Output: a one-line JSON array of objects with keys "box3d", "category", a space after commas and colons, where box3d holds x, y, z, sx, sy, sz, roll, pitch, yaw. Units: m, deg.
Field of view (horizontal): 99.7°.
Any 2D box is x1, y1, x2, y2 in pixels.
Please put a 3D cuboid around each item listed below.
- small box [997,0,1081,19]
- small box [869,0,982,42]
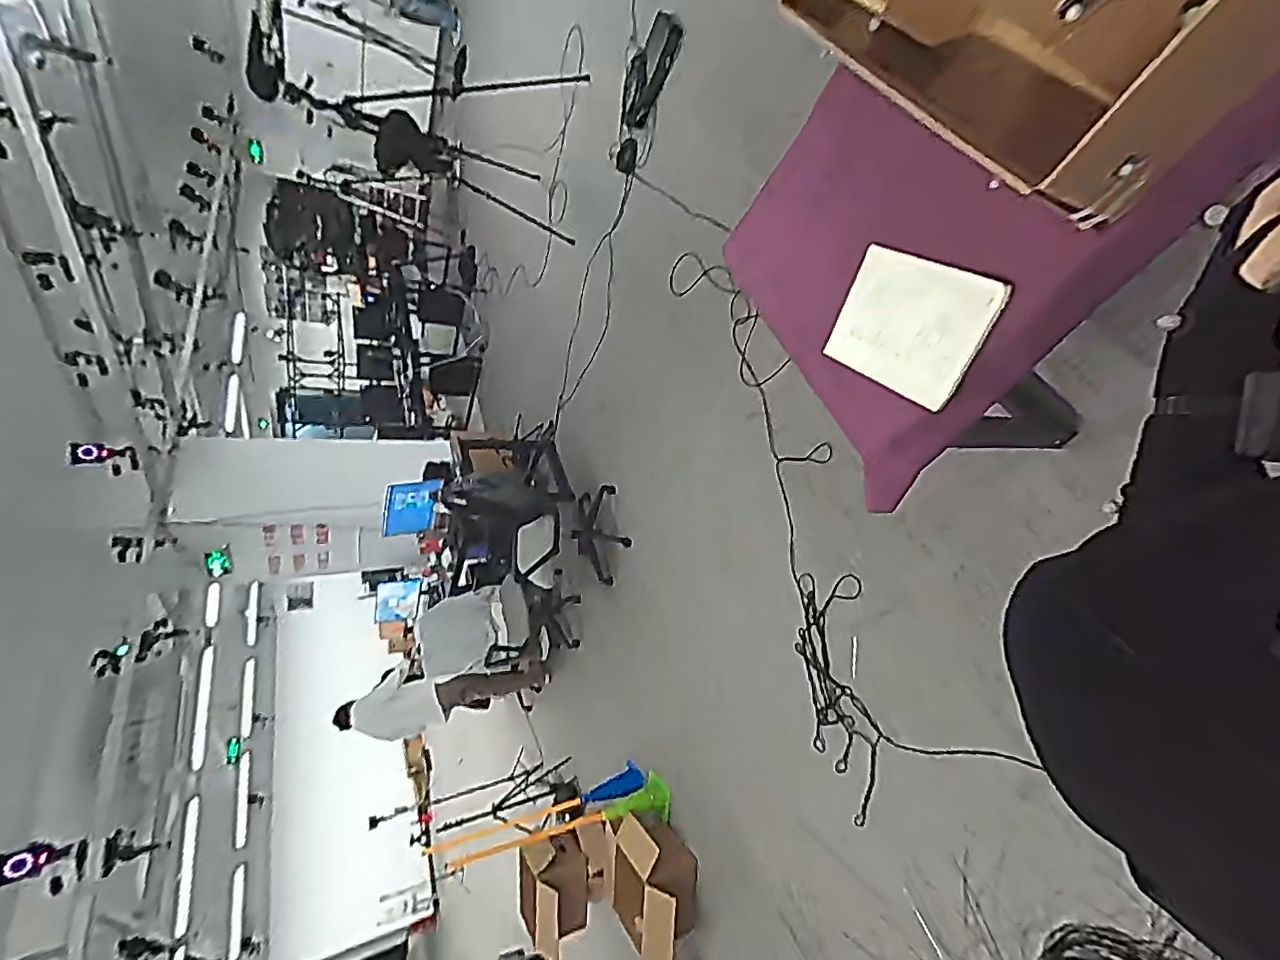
[{"box3d": [0.352, -0.532, 0.442, 0.168, 0.176, 0.179, -33, 62, 58], "category": "small box"}, {"box3d": [0.380, -0.724, 0.715, 0.168, 0.176, 0.179, -58, 46, 44], "category": "small box"}]
